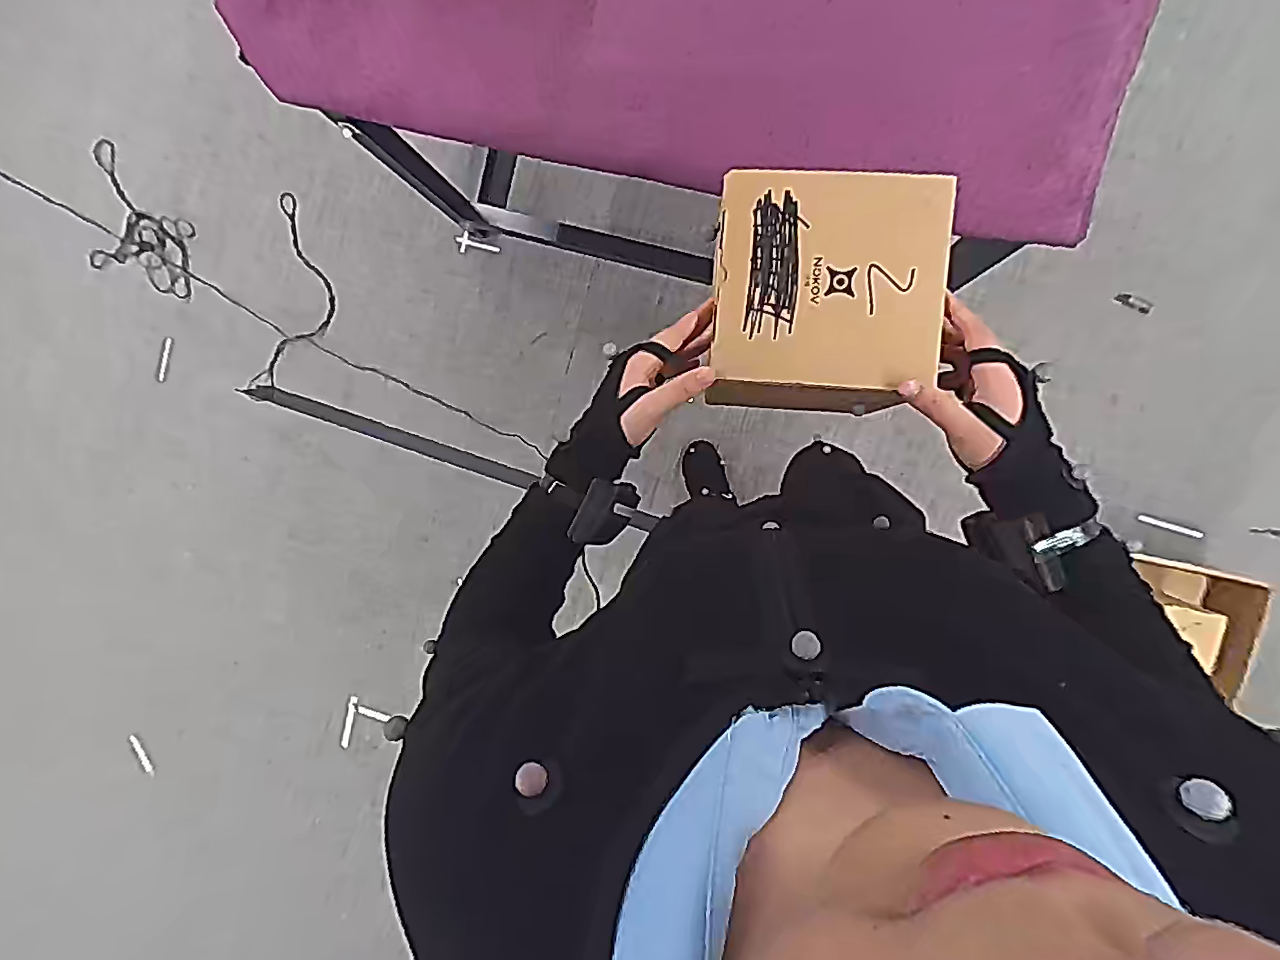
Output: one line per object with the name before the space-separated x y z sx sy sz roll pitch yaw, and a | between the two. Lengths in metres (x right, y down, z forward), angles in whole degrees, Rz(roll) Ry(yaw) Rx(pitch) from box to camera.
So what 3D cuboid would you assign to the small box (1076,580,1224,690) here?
small box | 1.159 0.349 1.246 0.168 0.176 0.179 11 97 6
